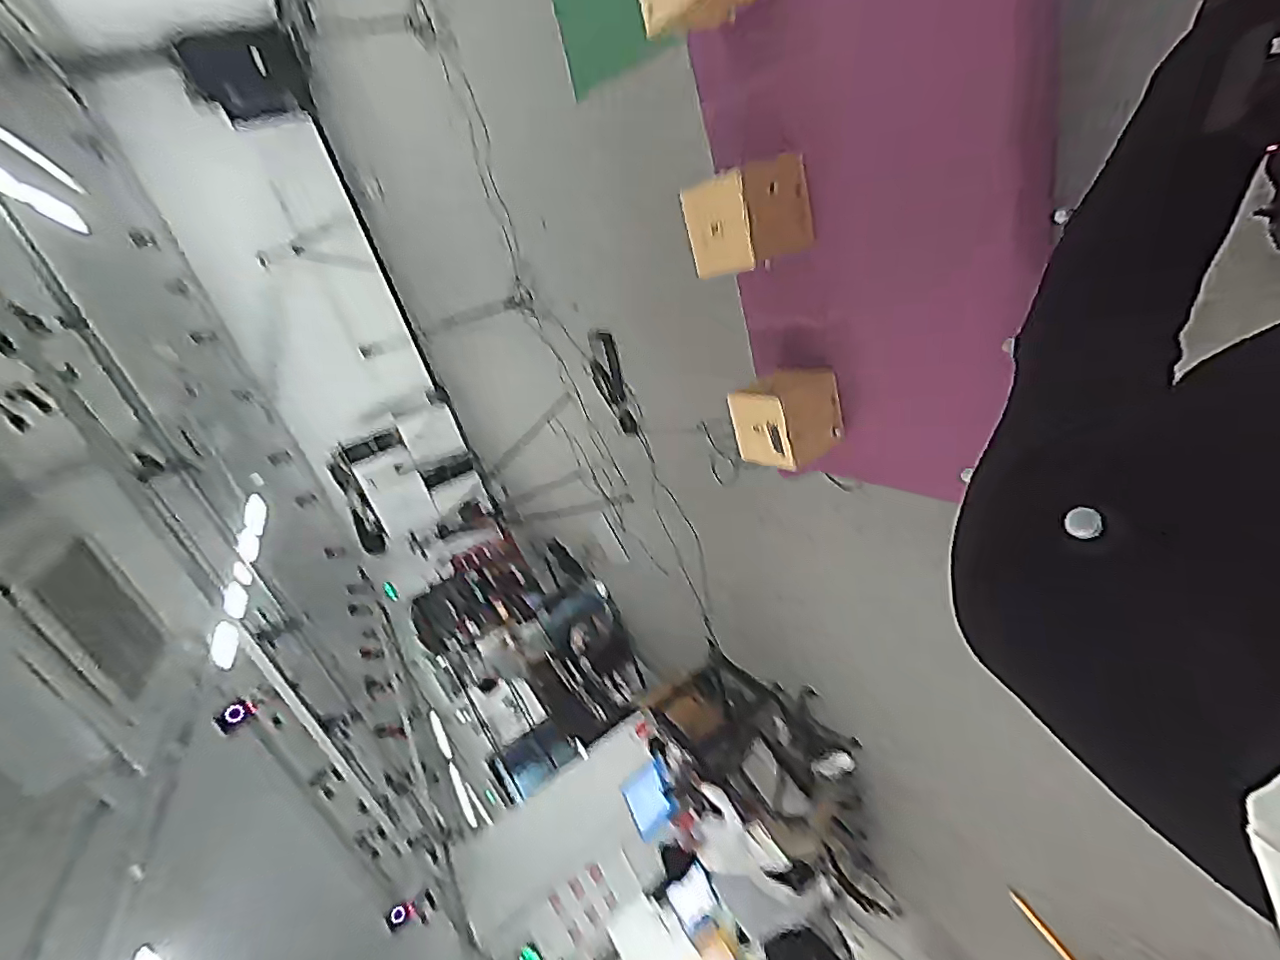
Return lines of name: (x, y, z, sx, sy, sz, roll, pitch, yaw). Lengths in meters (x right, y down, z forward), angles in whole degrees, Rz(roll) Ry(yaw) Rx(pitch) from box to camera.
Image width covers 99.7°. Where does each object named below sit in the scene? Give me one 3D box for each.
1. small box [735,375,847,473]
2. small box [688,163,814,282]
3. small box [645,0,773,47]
small box: (0.351, -0.136, 1.237, 0.179, 0.176, 0.168, 20, 133, 58)
small box: (0.229, -0.511, 1.082, 0.179, 0.176, 0.168, 21, 134, 57)
small box: (0.117, -0.874, 0.911, 0.179, 0.176, 0.168, 22, 135, 56)
